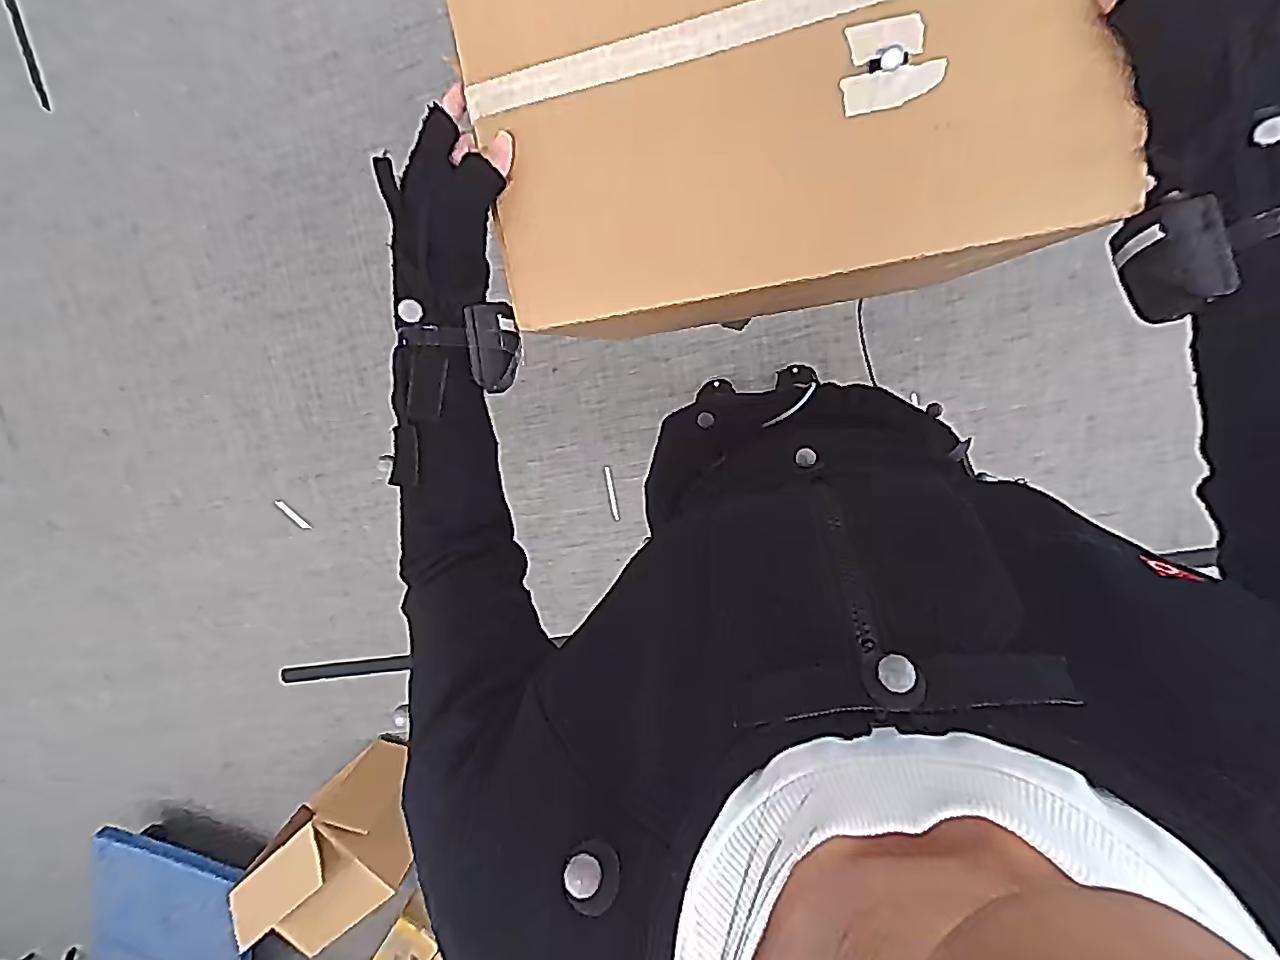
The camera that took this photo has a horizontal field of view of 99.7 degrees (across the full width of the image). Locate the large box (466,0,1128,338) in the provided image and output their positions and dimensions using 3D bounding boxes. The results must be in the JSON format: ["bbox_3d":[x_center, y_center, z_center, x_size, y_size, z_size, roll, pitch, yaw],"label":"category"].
[{"bbox_3d":[0.107,-0.326,0.490,0.408,0.320,0.320,-8,102,11],"label":"large box"}]
